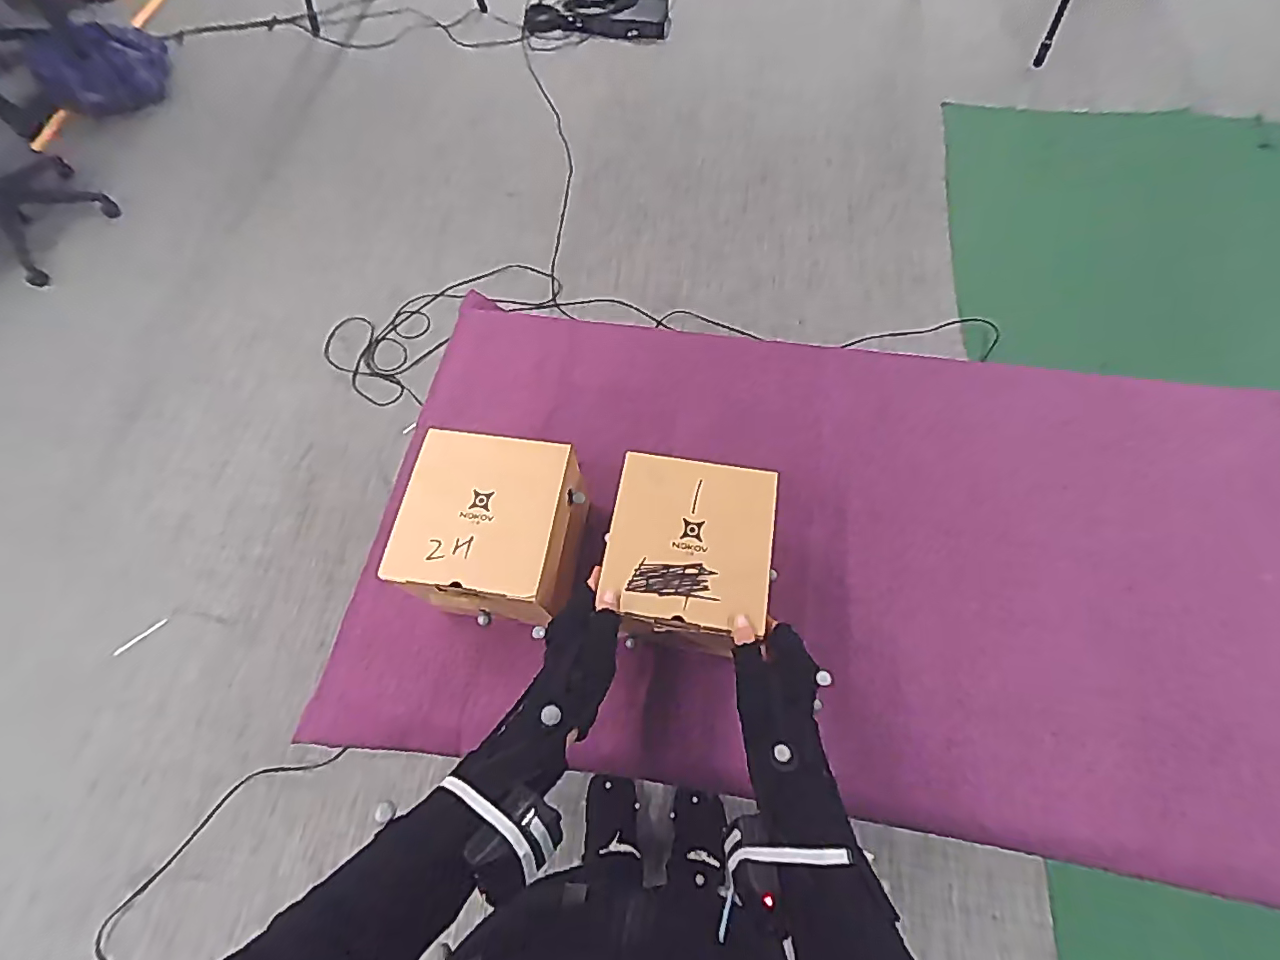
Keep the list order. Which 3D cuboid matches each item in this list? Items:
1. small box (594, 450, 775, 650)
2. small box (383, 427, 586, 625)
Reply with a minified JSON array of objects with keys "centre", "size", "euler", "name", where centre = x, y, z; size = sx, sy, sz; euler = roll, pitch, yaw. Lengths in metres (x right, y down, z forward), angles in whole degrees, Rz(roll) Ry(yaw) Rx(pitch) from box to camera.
[{"centre":[0.053,0.089,0.625],"size":[0.168,0.176,0.179],"euler":[9,66,6],"name":"small box"},{"centre":[-0.165,0.061,0.645],"size":[0.168,0.176,0.179],"euler":[7,66,6],"name":"small box"}]
